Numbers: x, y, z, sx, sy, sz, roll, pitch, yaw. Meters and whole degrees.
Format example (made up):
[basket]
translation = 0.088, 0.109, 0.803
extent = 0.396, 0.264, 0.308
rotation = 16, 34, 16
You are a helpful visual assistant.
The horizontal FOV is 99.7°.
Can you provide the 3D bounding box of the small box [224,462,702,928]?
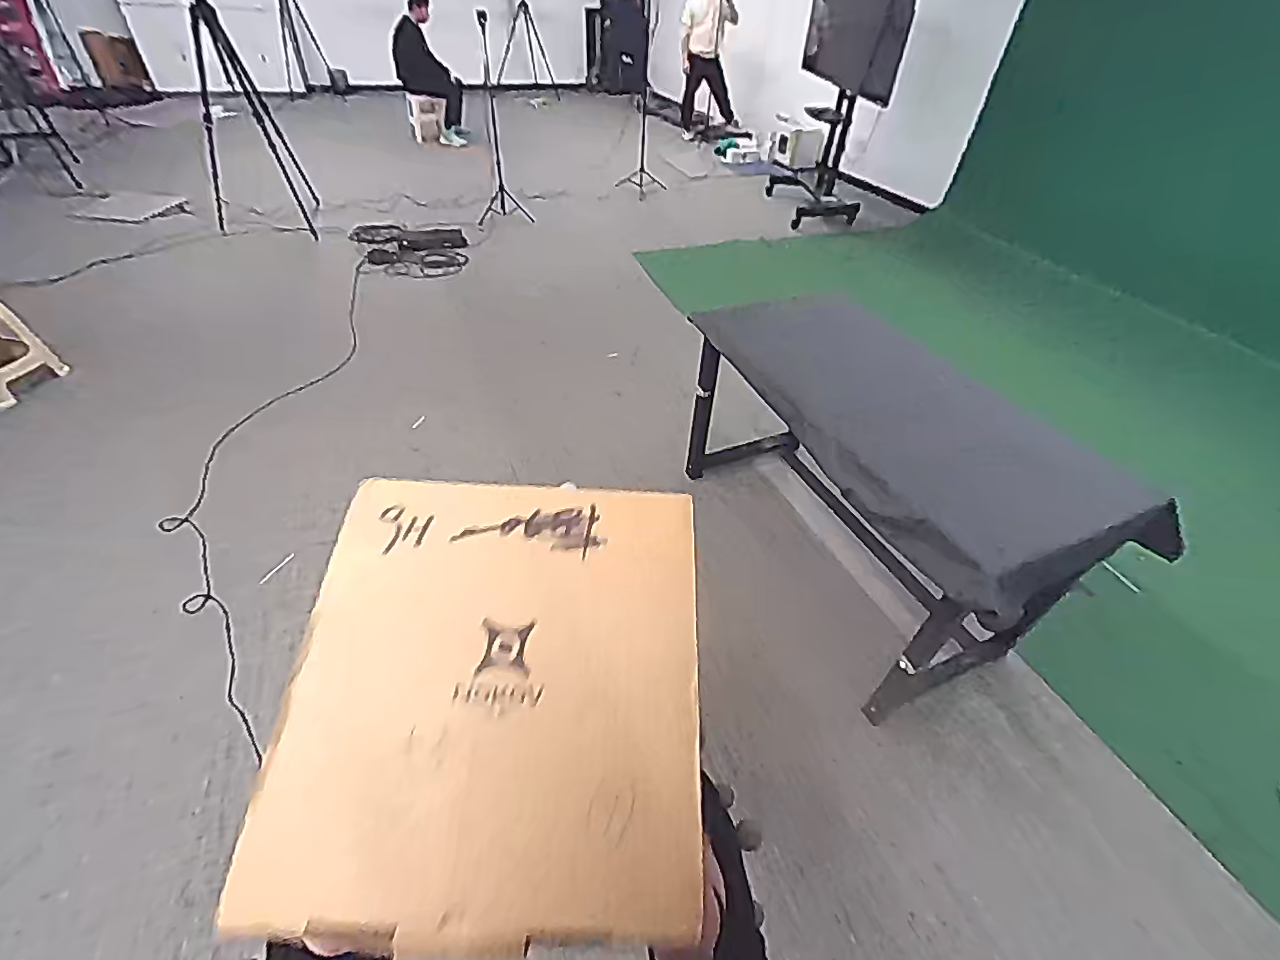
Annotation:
[small box]
translation = -0.062, 0.111, 0.293
extent = 0.168, 0.176, 0.179
rotation = 4, 60, -4
